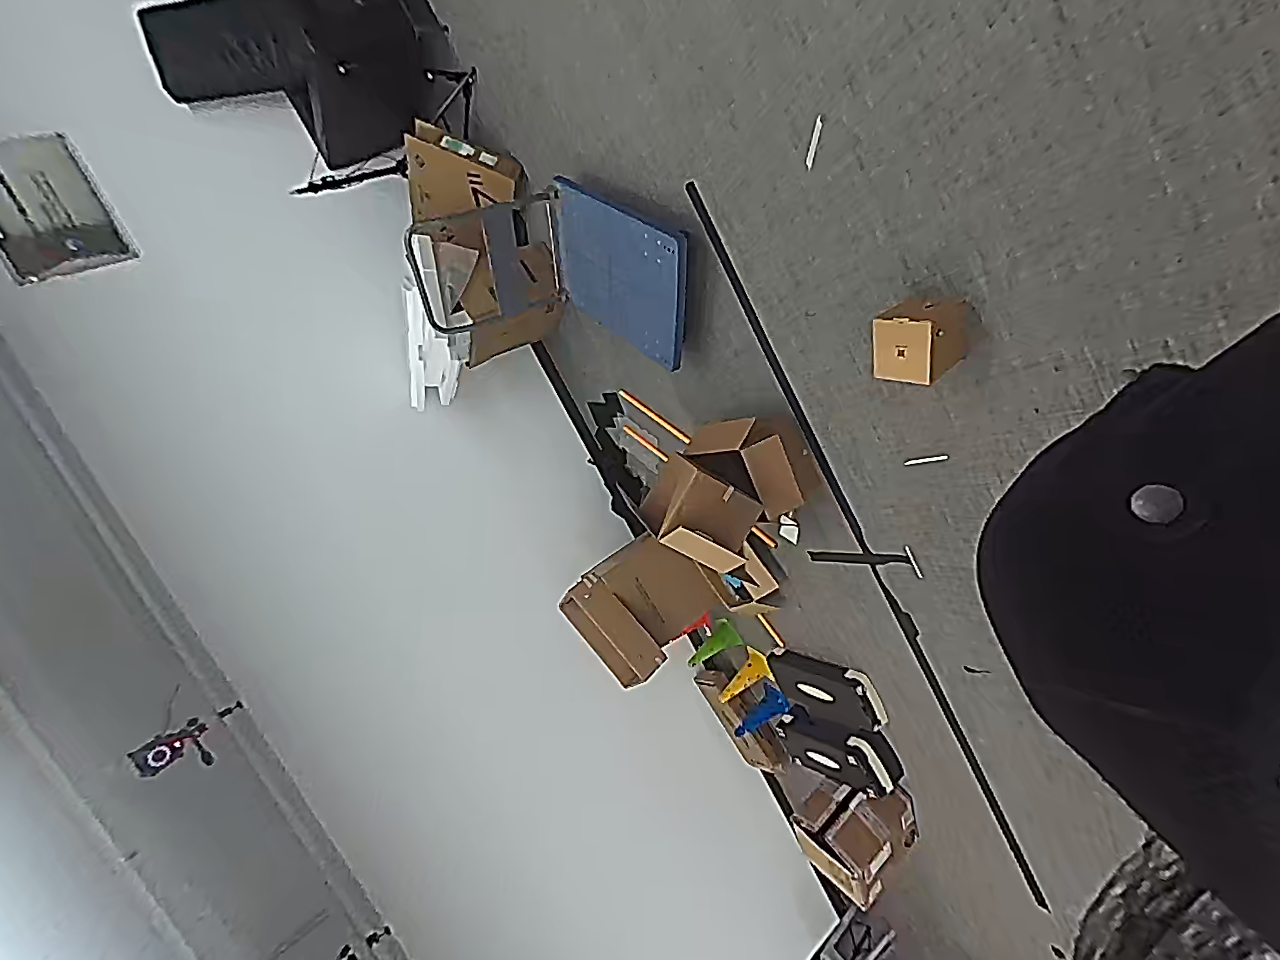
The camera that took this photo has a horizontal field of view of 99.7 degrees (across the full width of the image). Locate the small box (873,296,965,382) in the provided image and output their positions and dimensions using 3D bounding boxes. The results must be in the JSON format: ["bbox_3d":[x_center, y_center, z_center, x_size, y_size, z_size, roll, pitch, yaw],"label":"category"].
[{"bbox_3d":[0.764,-0.390,1.482,0.168,0.176,0.179,26,139,50],"label":"small box"}]
